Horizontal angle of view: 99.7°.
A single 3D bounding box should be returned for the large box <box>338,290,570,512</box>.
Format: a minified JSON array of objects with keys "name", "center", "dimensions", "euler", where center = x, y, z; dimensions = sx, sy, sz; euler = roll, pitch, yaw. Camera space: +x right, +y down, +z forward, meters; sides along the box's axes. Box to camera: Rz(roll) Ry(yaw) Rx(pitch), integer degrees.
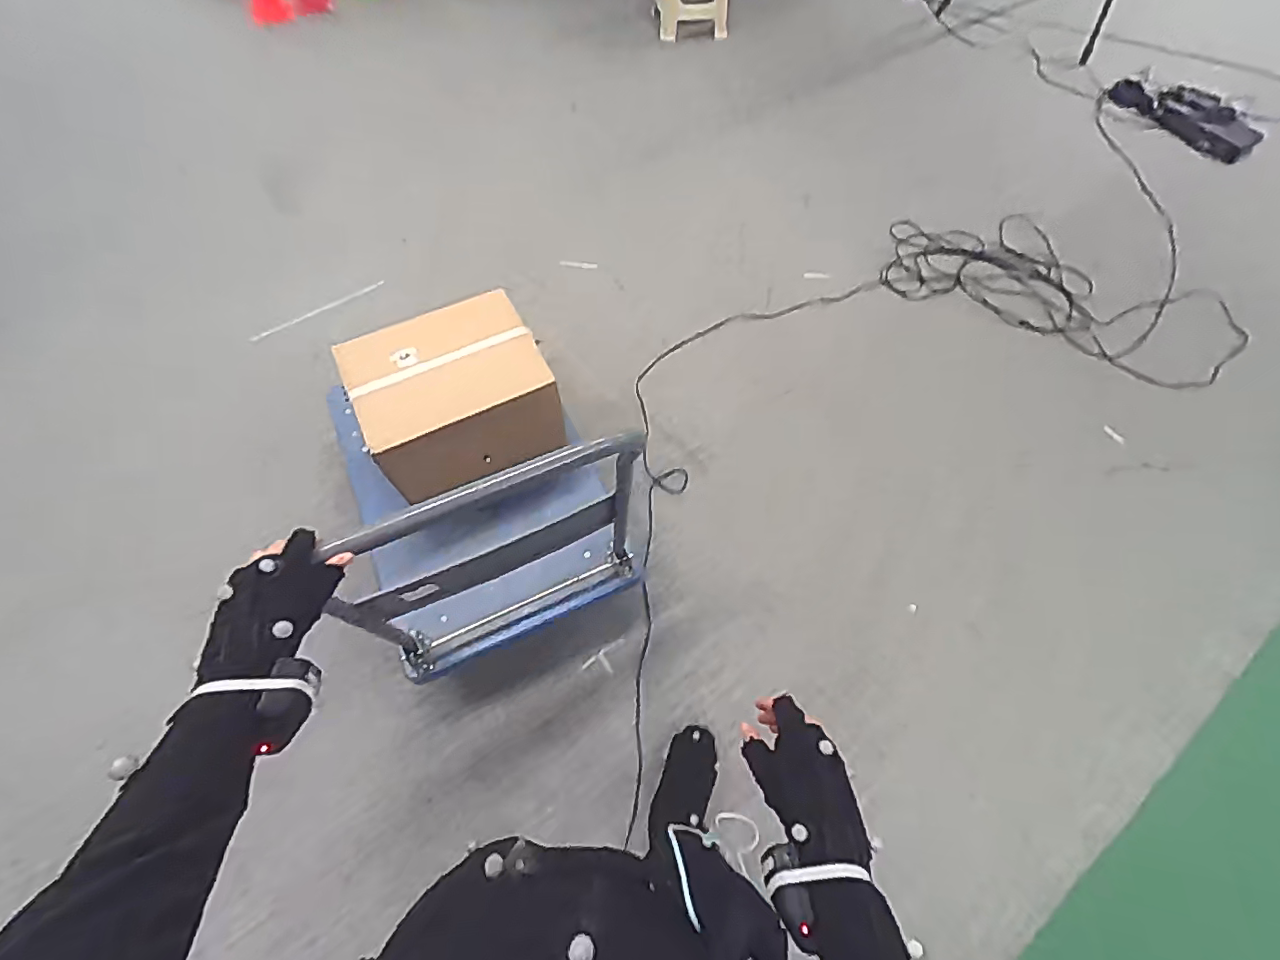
[{"name":"large box","center":[-0.426,-0.184,1.318],"dimensions":[0.408,0.320,0.320],"euler":[-26,66,-13]}]
